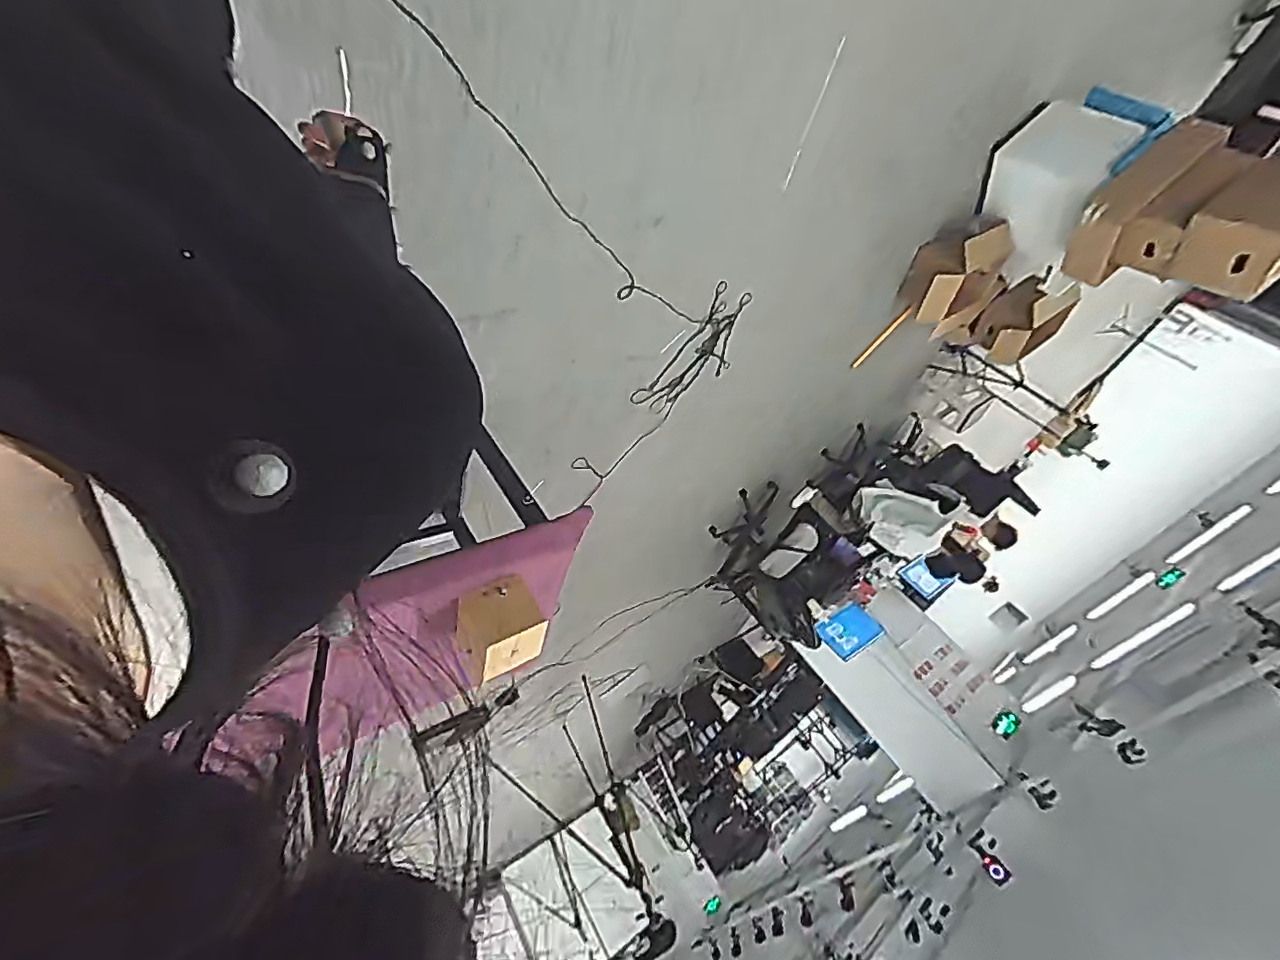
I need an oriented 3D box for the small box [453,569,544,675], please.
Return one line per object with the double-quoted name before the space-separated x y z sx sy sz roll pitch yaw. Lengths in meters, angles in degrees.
"small box" -0.371 0.362 1.393 0.168 0.176 0.179 -17 143 -36
